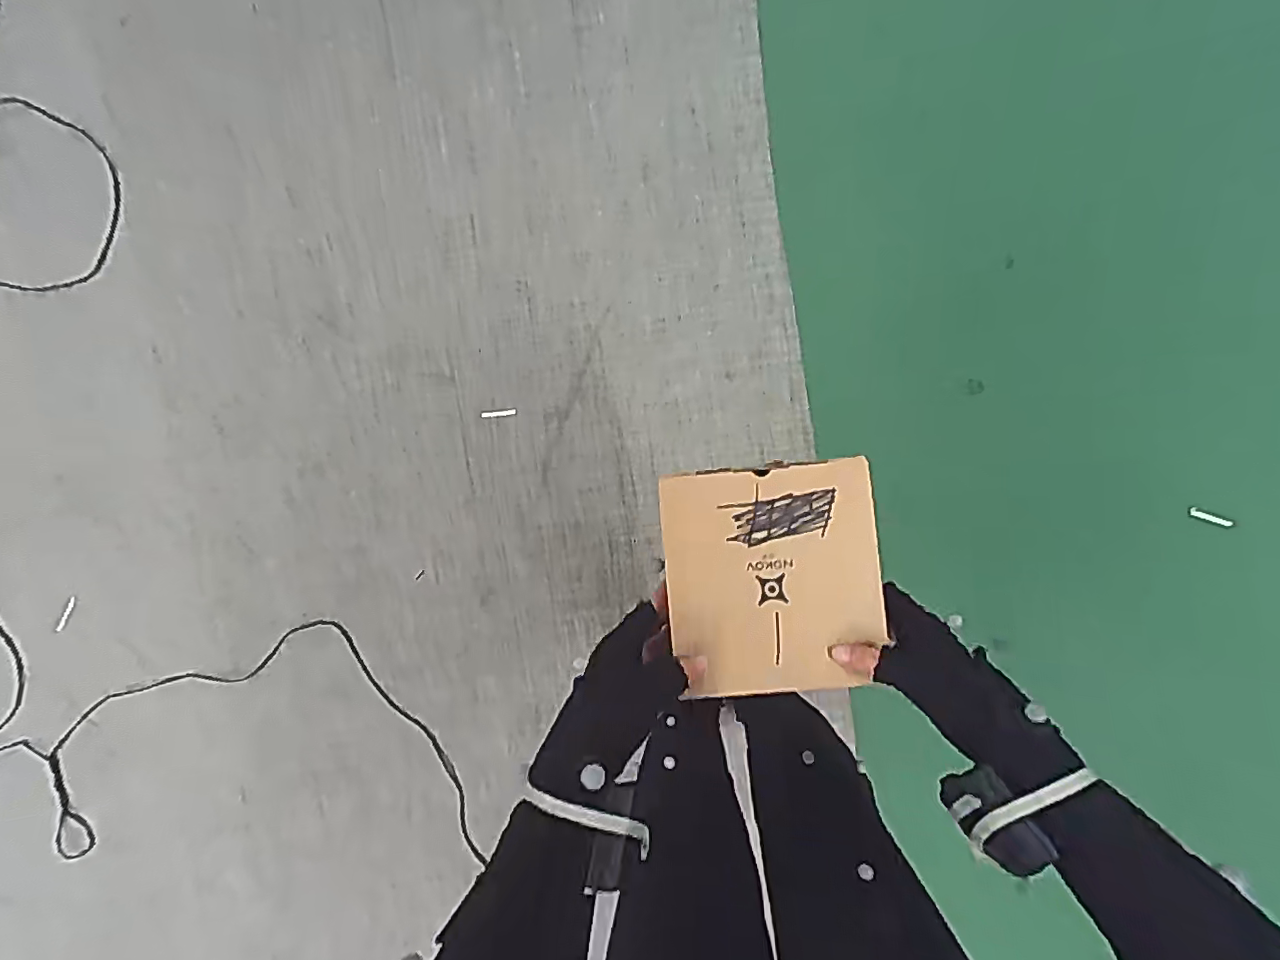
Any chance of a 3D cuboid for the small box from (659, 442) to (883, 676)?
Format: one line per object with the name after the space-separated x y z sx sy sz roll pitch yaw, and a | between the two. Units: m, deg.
0.105 0.066 0.506 0.168 0.176 0.179 -5 88 3 | small box
